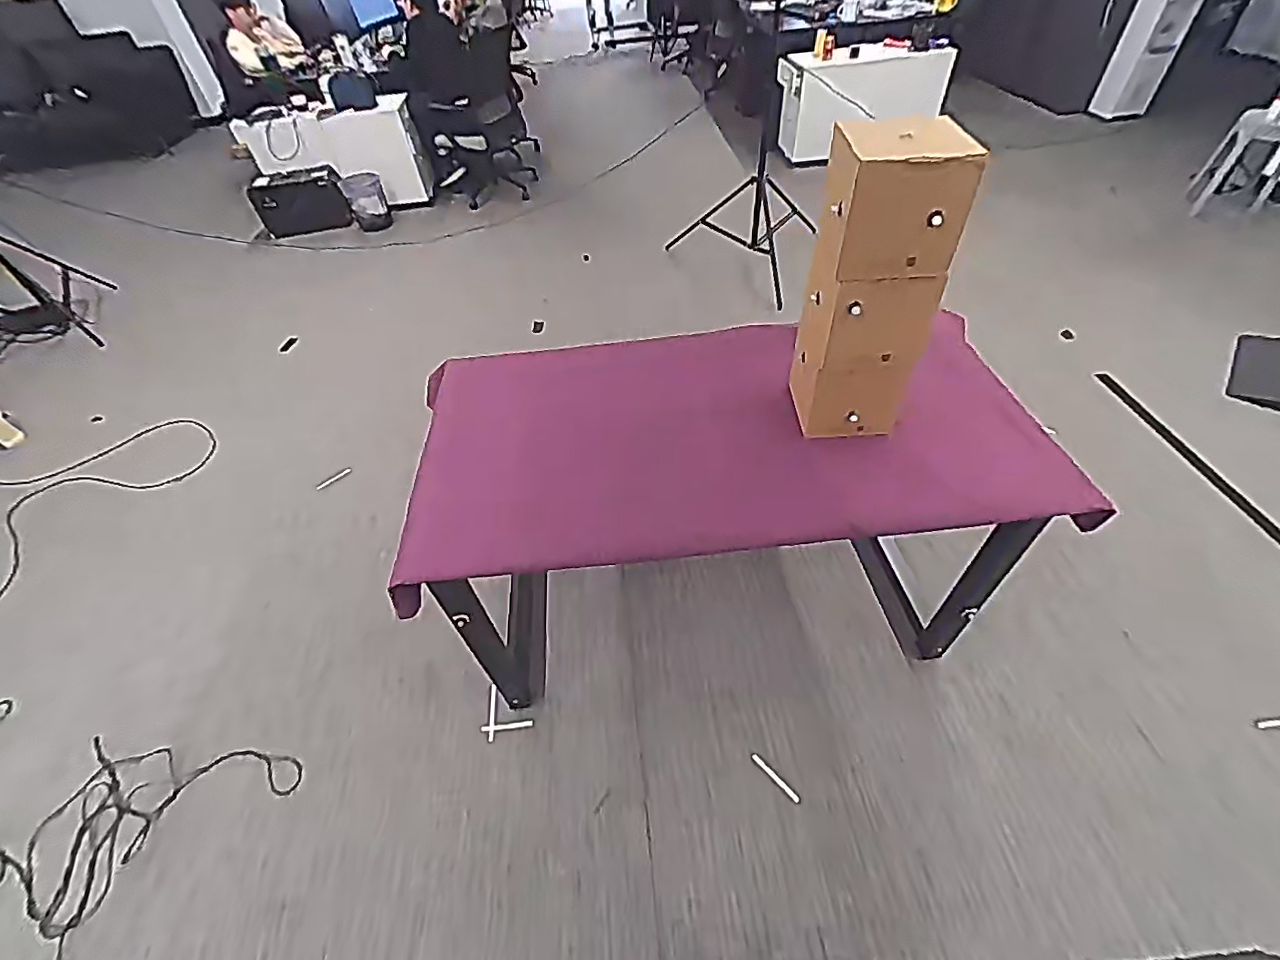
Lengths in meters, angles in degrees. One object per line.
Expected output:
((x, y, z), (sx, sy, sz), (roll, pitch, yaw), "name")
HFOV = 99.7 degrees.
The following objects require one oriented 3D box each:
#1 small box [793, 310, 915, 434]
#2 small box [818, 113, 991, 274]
((0.402, -0.209, 1.052), (0.168, 0.176, 0.179), (-3, 48, 4), "small box")
((0.375, -0.421, 0.805), (0.168, 0.176, 0.179), (0, 47, 4), "small box")
